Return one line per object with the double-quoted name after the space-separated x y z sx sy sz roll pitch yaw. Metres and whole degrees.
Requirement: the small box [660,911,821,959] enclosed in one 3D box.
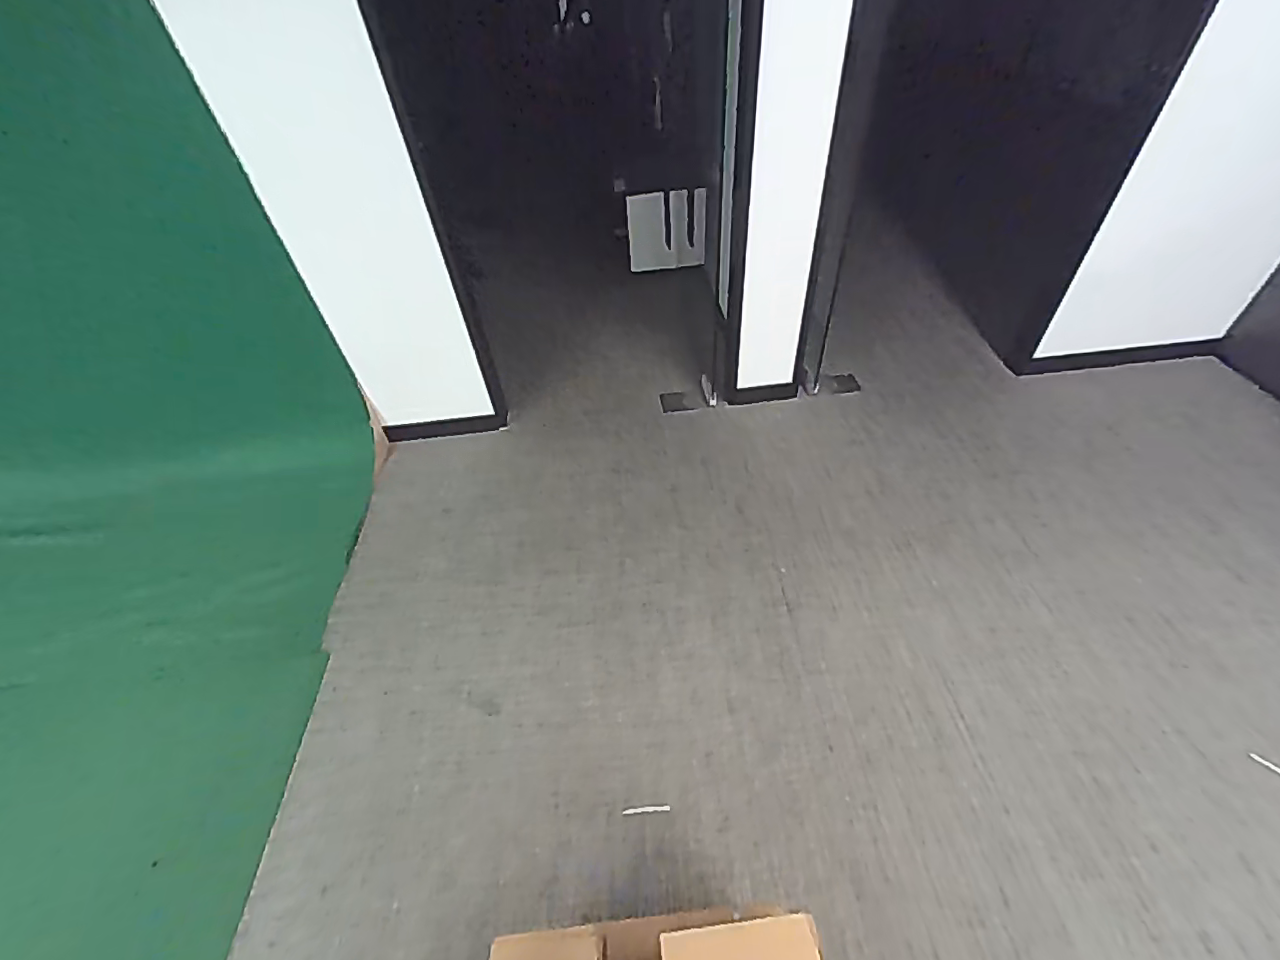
0.120 0.609 0.614 0.179 0.176 0.168 -7 45 1 "small box"
